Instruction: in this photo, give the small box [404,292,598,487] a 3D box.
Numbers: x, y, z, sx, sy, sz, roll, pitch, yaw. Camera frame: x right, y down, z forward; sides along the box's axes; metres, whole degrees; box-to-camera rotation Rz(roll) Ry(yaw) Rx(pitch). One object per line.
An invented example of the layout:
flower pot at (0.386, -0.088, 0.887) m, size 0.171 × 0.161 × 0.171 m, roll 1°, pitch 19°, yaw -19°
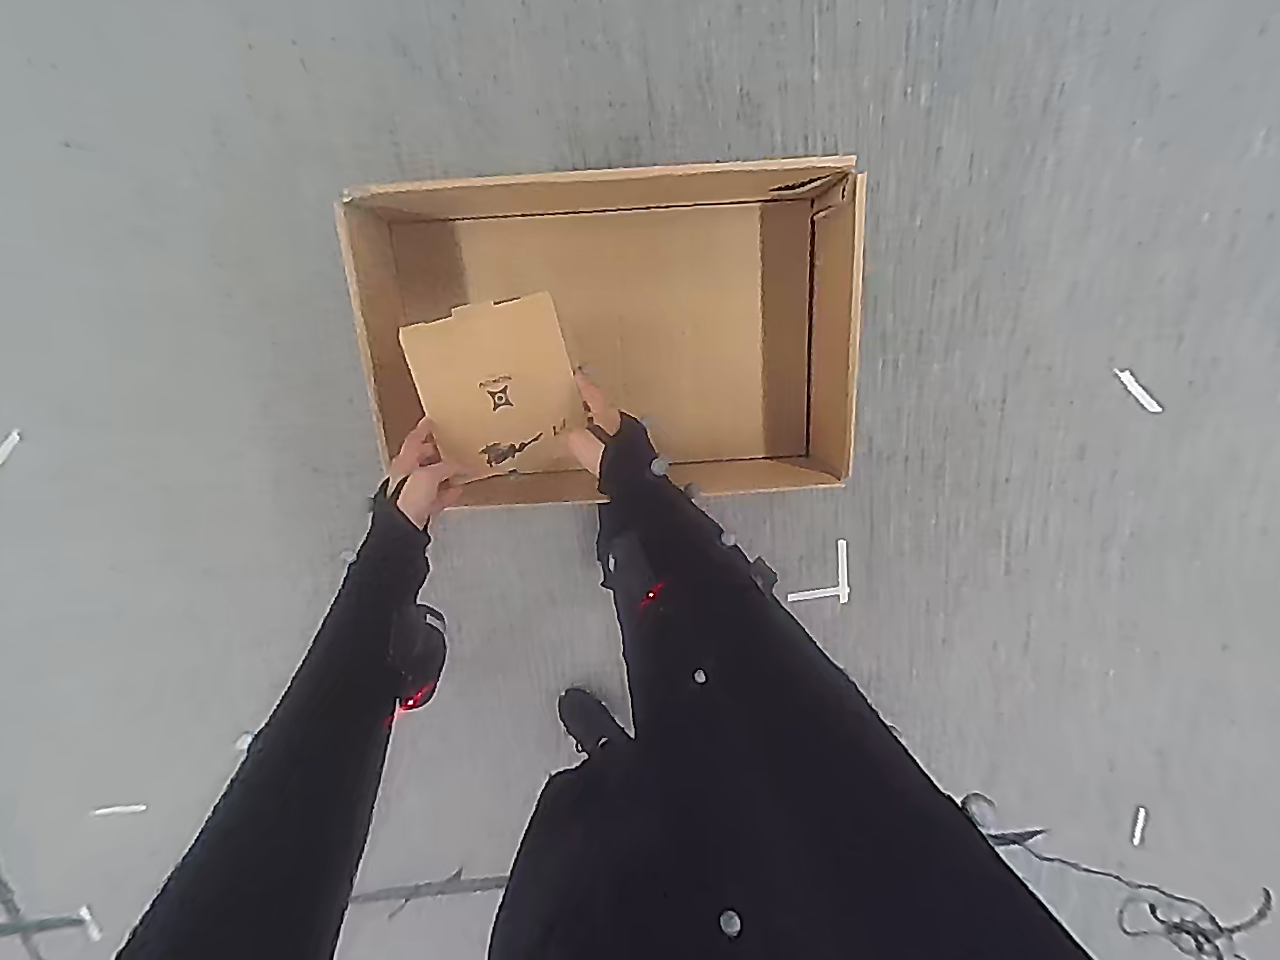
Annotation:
small box at (-0.151, -0.108, 0.652) m, size 0.168 × 0.176 × 0.179 m, roll -15°, pitch 102°, yaw 0°
